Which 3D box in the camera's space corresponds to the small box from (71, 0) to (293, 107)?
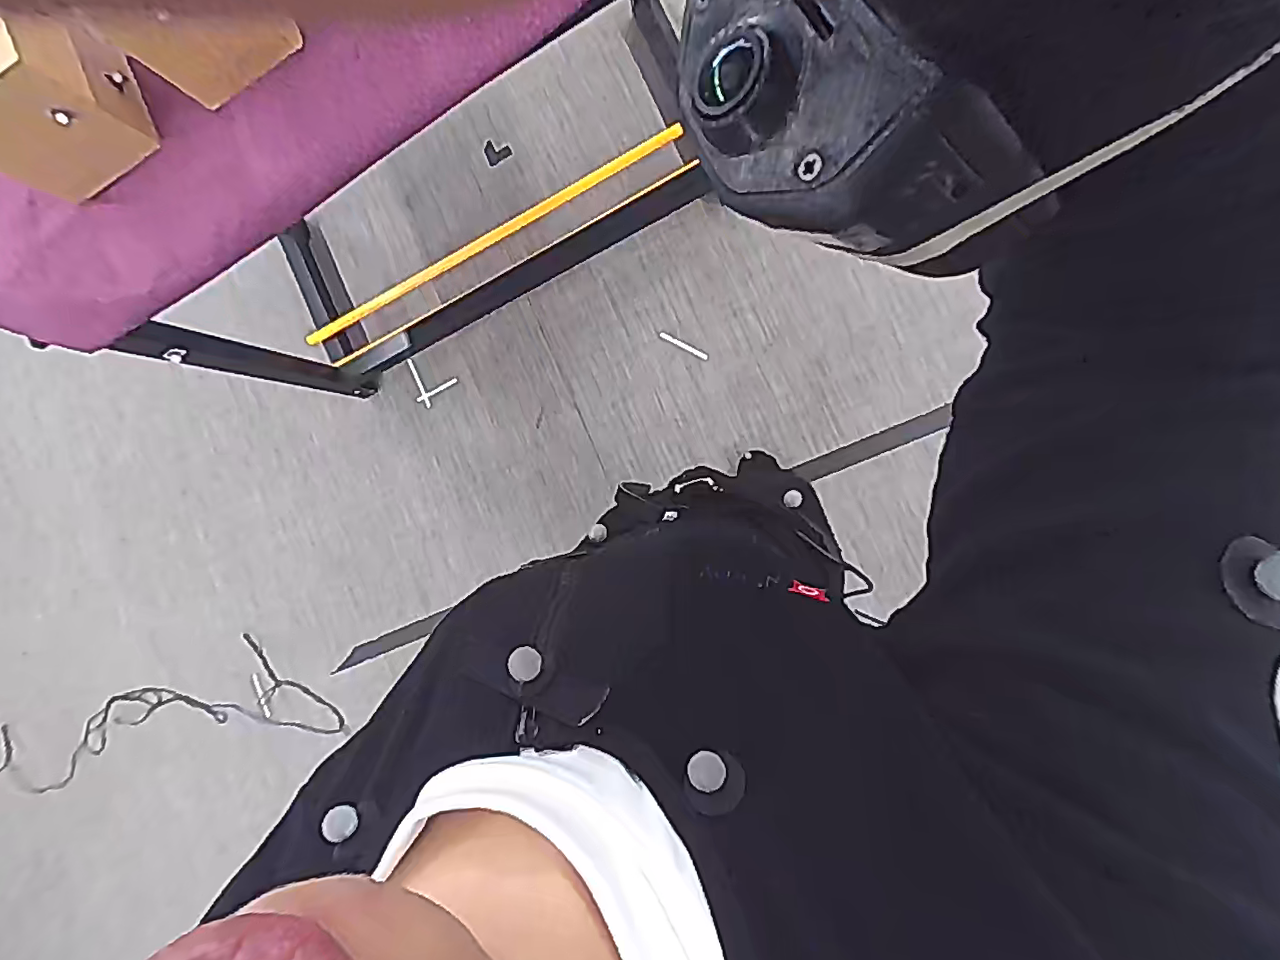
[{"bbox_3d":[-0.585,-0.638,0.691,0.179,0.176,0.168,-24,85,12],"label":"small box"}]
